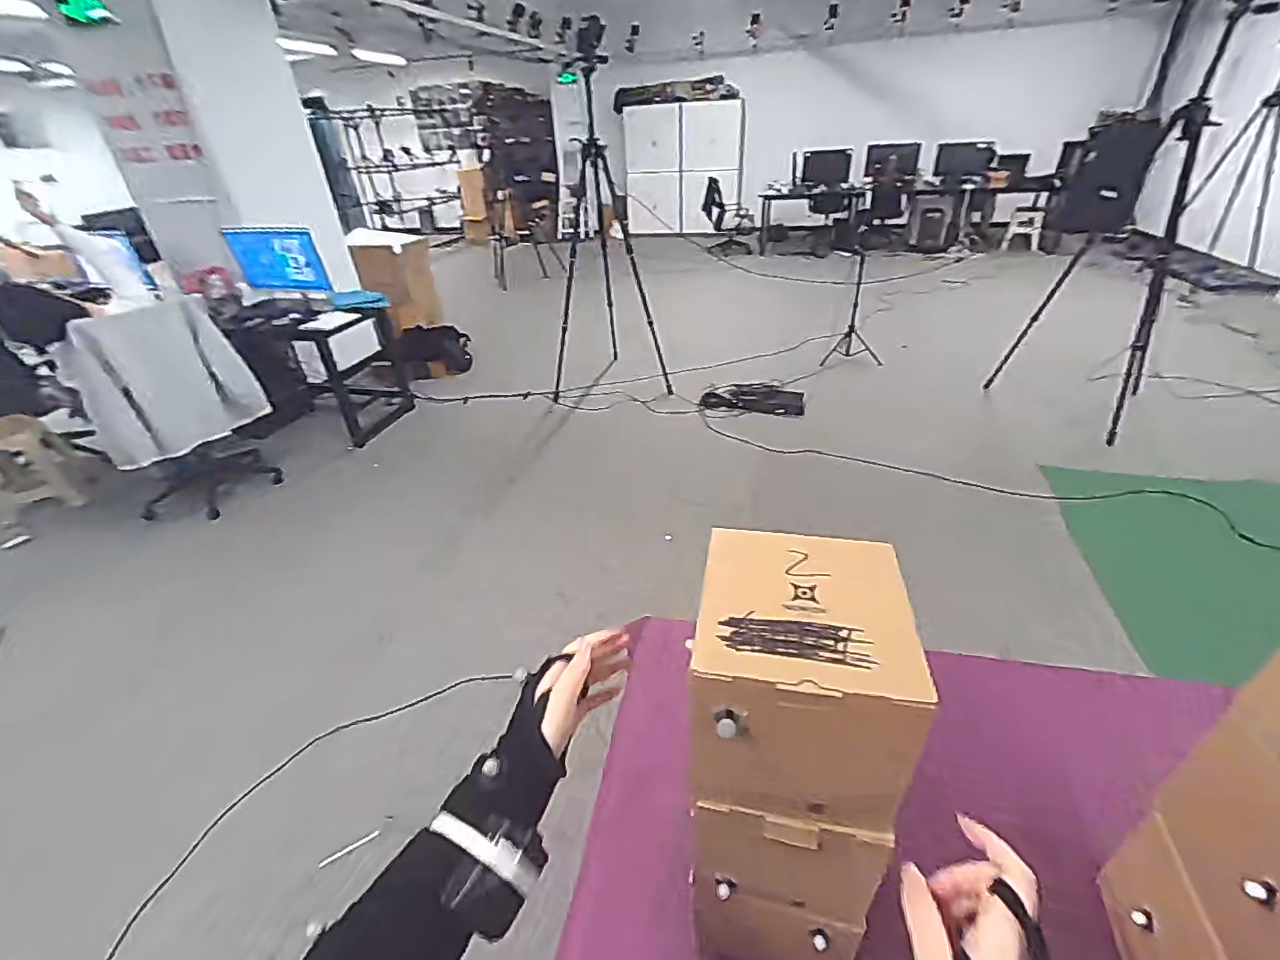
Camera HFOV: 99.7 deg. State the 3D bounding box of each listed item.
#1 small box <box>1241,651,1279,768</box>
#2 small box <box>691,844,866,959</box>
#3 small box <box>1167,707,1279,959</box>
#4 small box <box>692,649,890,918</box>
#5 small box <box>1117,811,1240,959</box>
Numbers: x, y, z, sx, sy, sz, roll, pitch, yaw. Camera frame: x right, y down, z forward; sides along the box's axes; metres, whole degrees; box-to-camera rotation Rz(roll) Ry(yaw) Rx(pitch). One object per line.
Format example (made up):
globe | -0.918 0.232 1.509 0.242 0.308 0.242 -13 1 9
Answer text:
small box | 0.602 0.196 0.373 0.168 0.176 0.179 7 35 16
small box | 0.161 0.451 0.649 0.179 0.176 0.168 5 33 14
small box | 0.616 0.335 0.460 0.168 0.176 0.179 7 34 17
small box | 0.150 0.310 0.565 0.168 0.176 0.179 4 32 13
small box | 0.626 0.477 0.540 0.179 0.176 0.168 7 35 18
